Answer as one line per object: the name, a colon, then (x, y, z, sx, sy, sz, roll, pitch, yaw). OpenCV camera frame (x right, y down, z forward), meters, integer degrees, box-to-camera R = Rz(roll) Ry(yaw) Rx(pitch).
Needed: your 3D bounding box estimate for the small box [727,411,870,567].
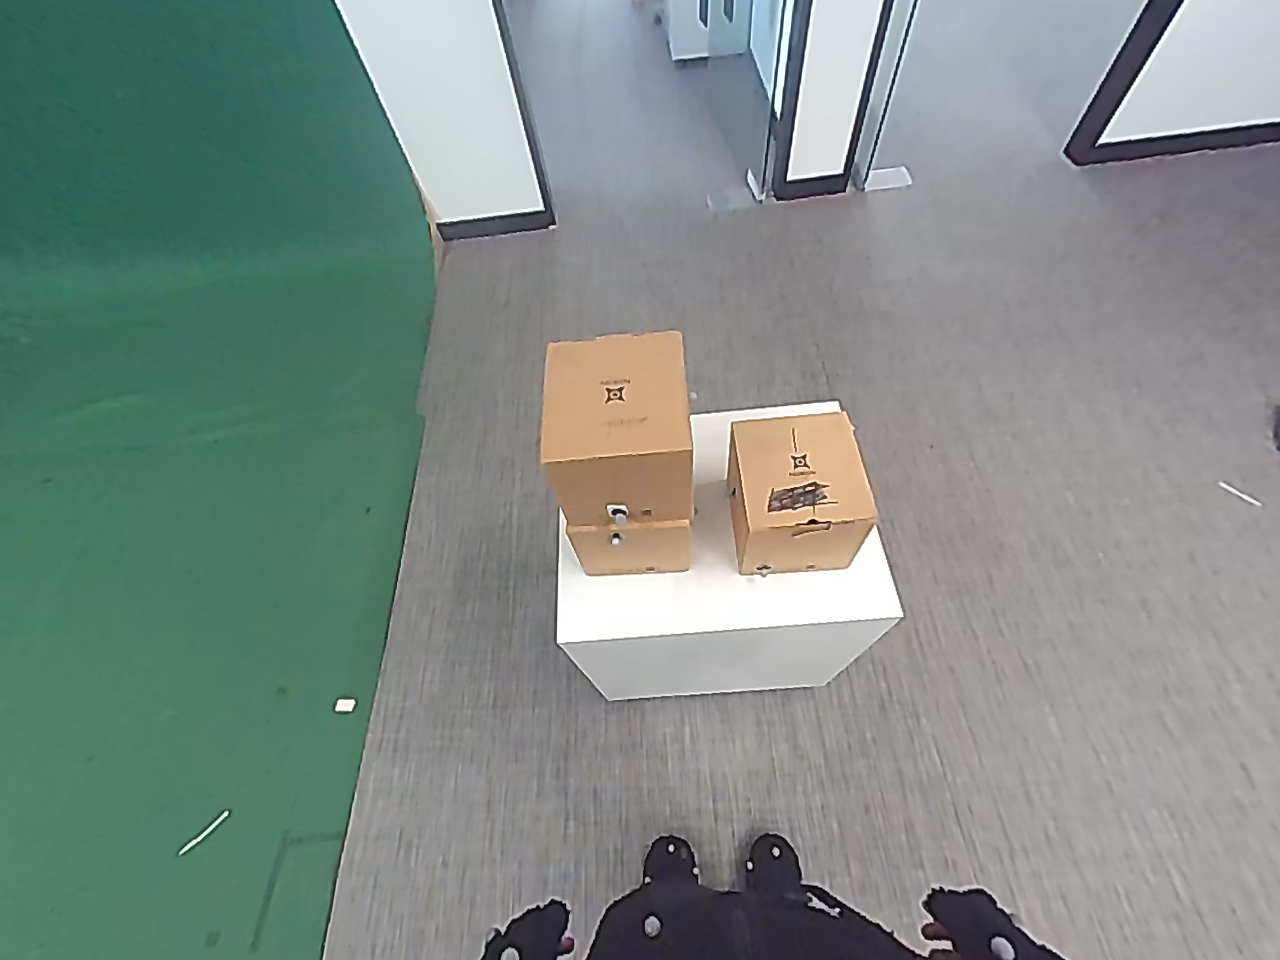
small box: (0.222, 0.022, 0.806, 0.168, 0.176, 0.179, -4, 58, 4)

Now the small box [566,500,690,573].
small box: (-0.011, 0.029, 0.827, 0.168, 0.176, 0.179, -4, 58, 5)

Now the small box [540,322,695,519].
small box: (-0.022, -0.069, 0.678, 0.168, 0.176, 0.179, -5, 60, 3)
